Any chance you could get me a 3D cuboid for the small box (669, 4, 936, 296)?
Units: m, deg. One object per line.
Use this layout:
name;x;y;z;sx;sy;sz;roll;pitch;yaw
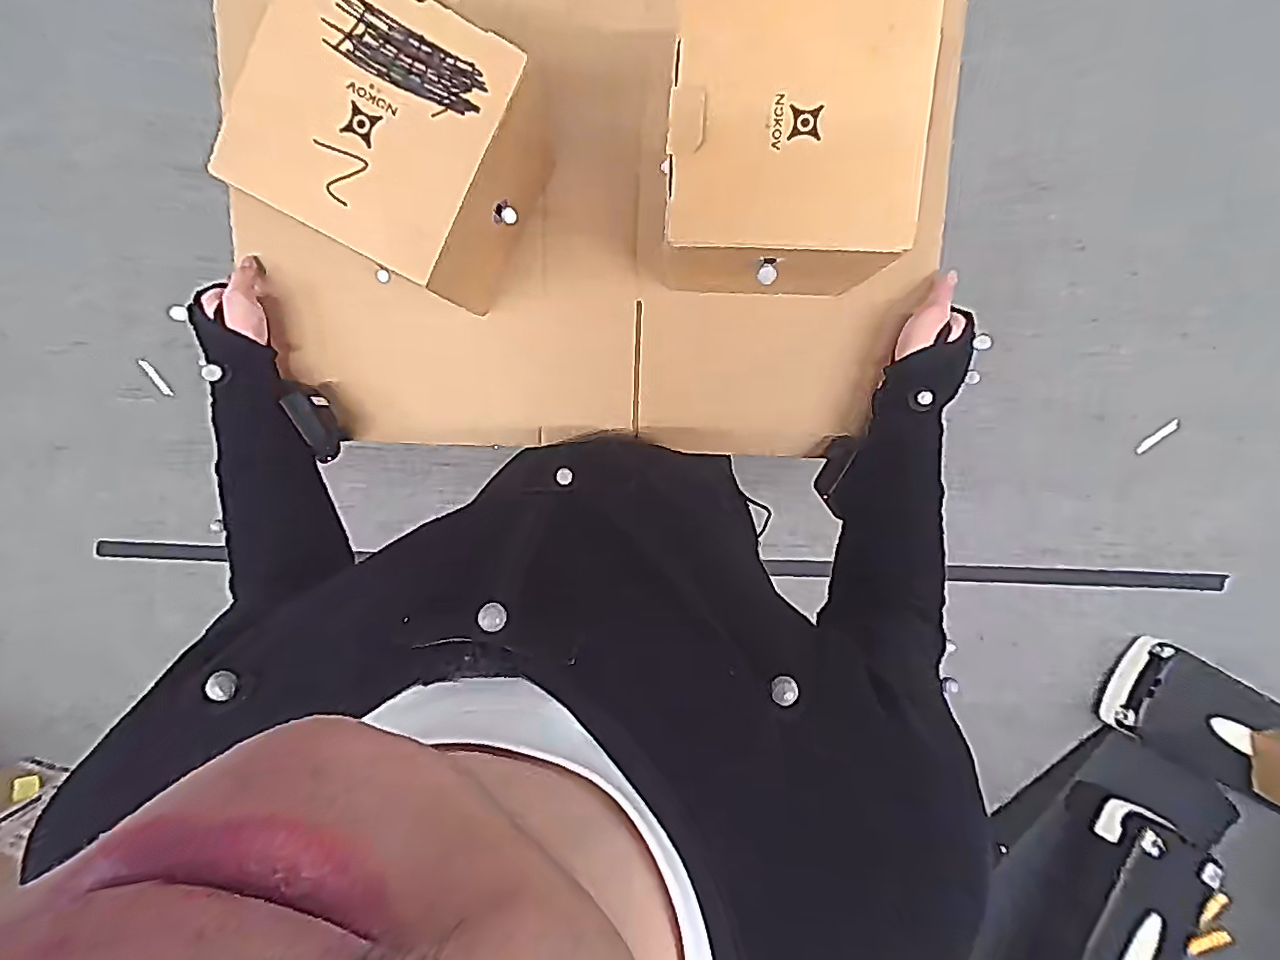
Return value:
small box;0.119;-0.261;0.467;0.179;0.176;0.168;4;99;5
